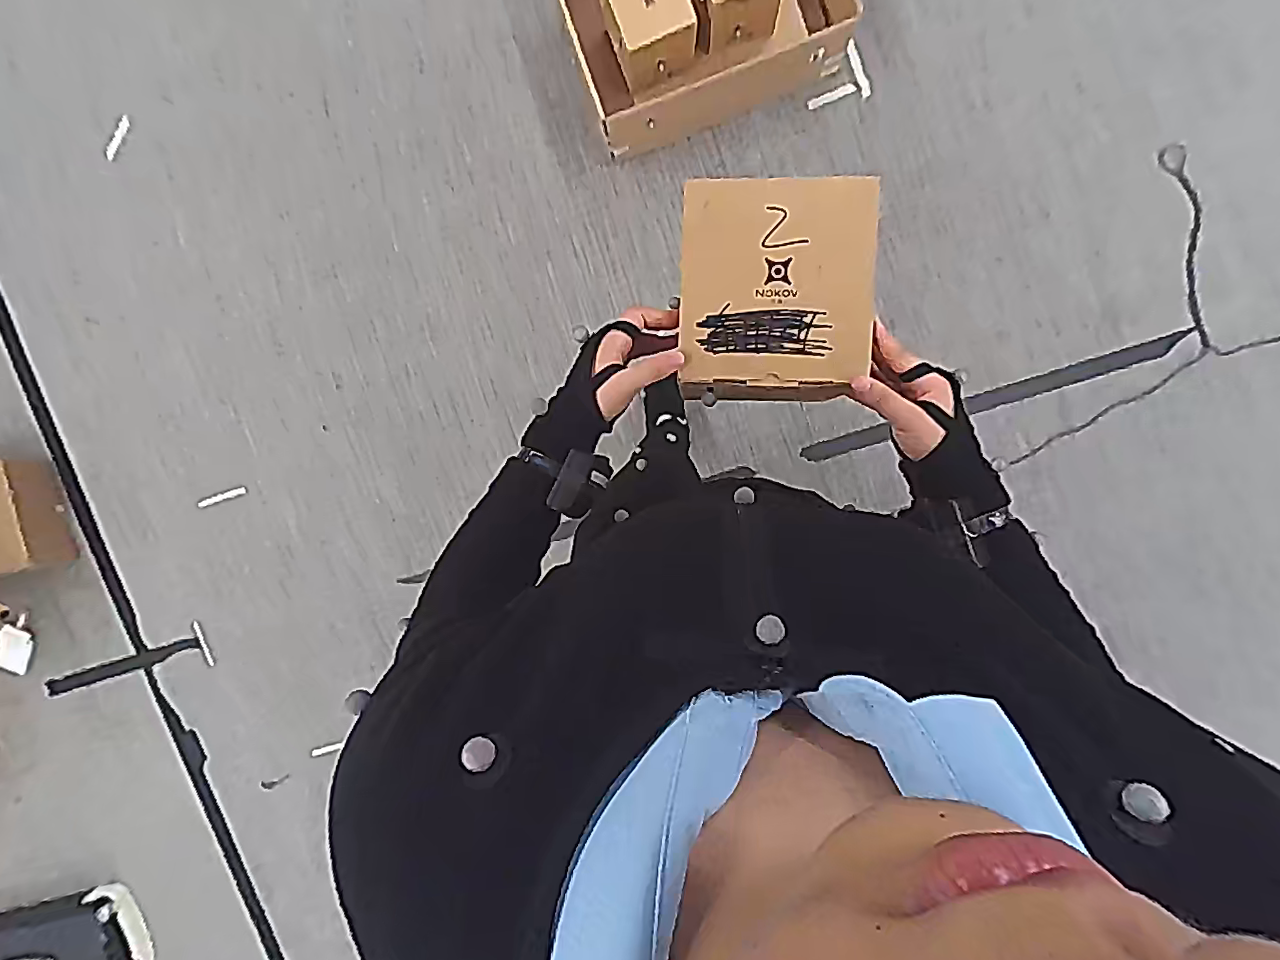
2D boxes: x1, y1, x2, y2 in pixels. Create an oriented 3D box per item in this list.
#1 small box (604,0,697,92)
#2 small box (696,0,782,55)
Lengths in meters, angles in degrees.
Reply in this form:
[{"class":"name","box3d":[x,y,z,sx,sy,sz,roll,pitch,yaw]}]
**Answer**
[{"class":"small box","box3d":[0.024,-1.050,1.258,0.168,0.176,0.179,-21,94,3]},{"class":"small box","box3d":[0.222,-1.140,1.242,0.168,0.176,0.179,-14,95,5]}]
